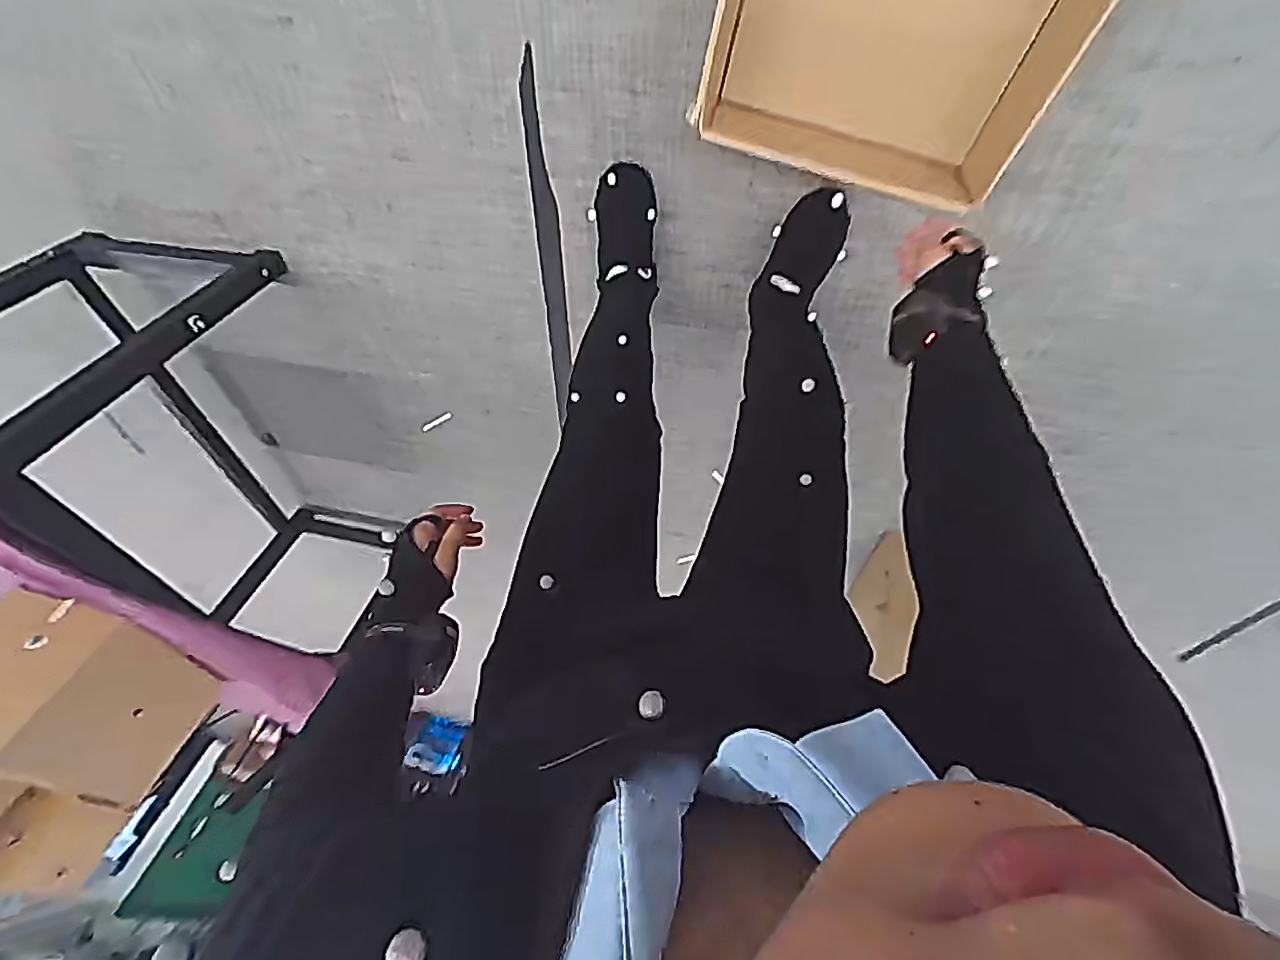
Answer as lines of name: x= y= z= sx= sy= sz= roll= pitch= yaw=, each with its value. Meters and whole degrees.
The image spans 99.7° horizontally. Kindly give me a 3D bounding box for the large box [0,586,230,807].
large box: x=-1.267 y=0.492 z=1.222 sx=0.320 sy=0.320 sz=0.408 roll=13 pitch=141 yaw=9
